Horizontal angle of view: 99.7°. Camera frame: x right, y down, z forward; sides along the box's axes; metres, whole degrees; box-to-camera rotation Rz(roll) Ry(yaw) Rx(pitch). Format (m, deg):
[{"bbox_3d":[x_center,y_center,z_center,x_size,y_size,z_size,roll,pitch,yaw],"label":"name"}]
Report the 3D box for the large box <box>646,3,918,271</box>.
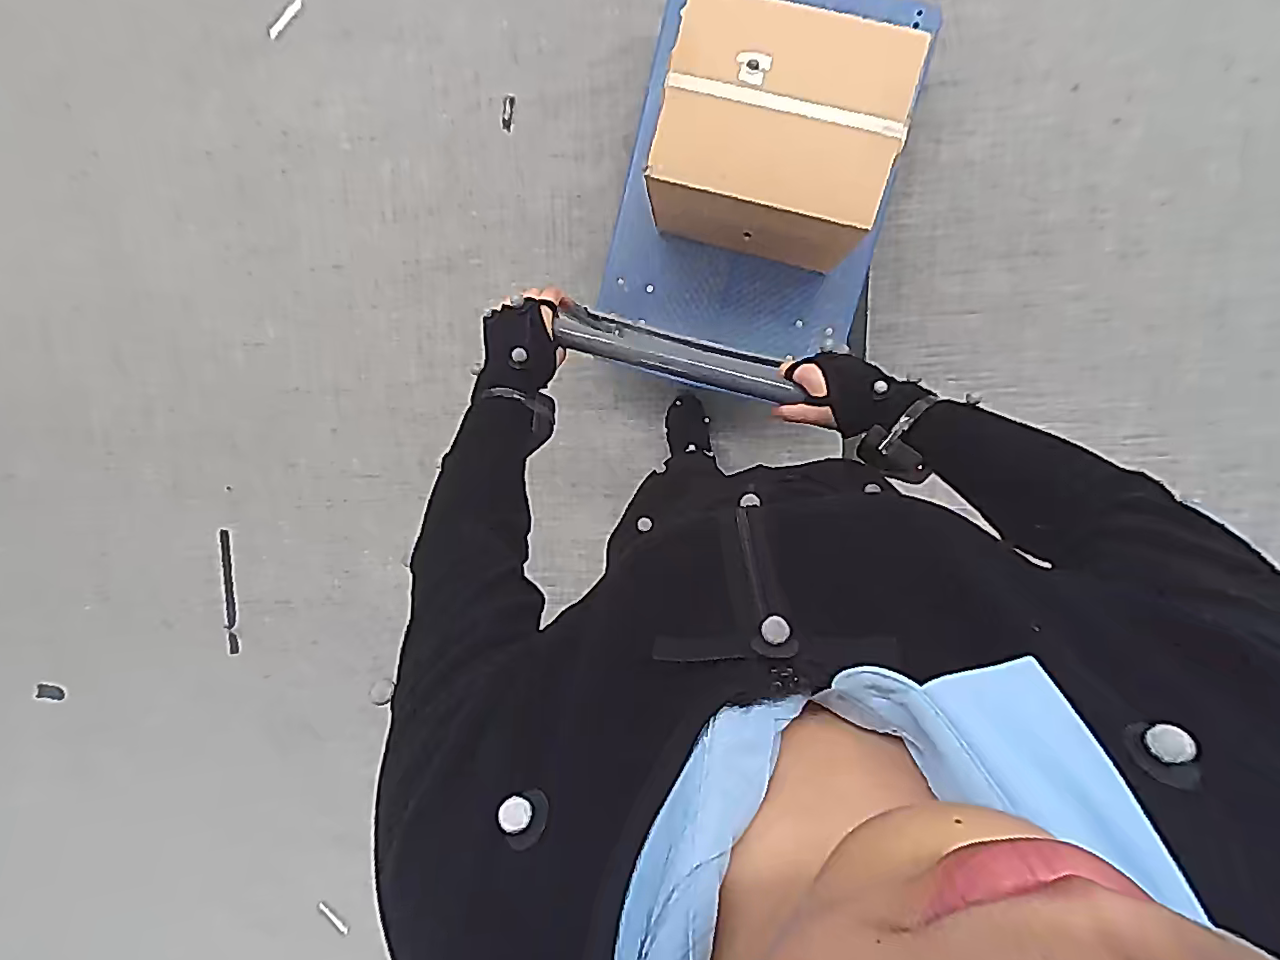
[{"bbox_3d":[0.256,-0.645,1.080,0.408,0.320,0.320,15,98,5],"label":"large box"}]
